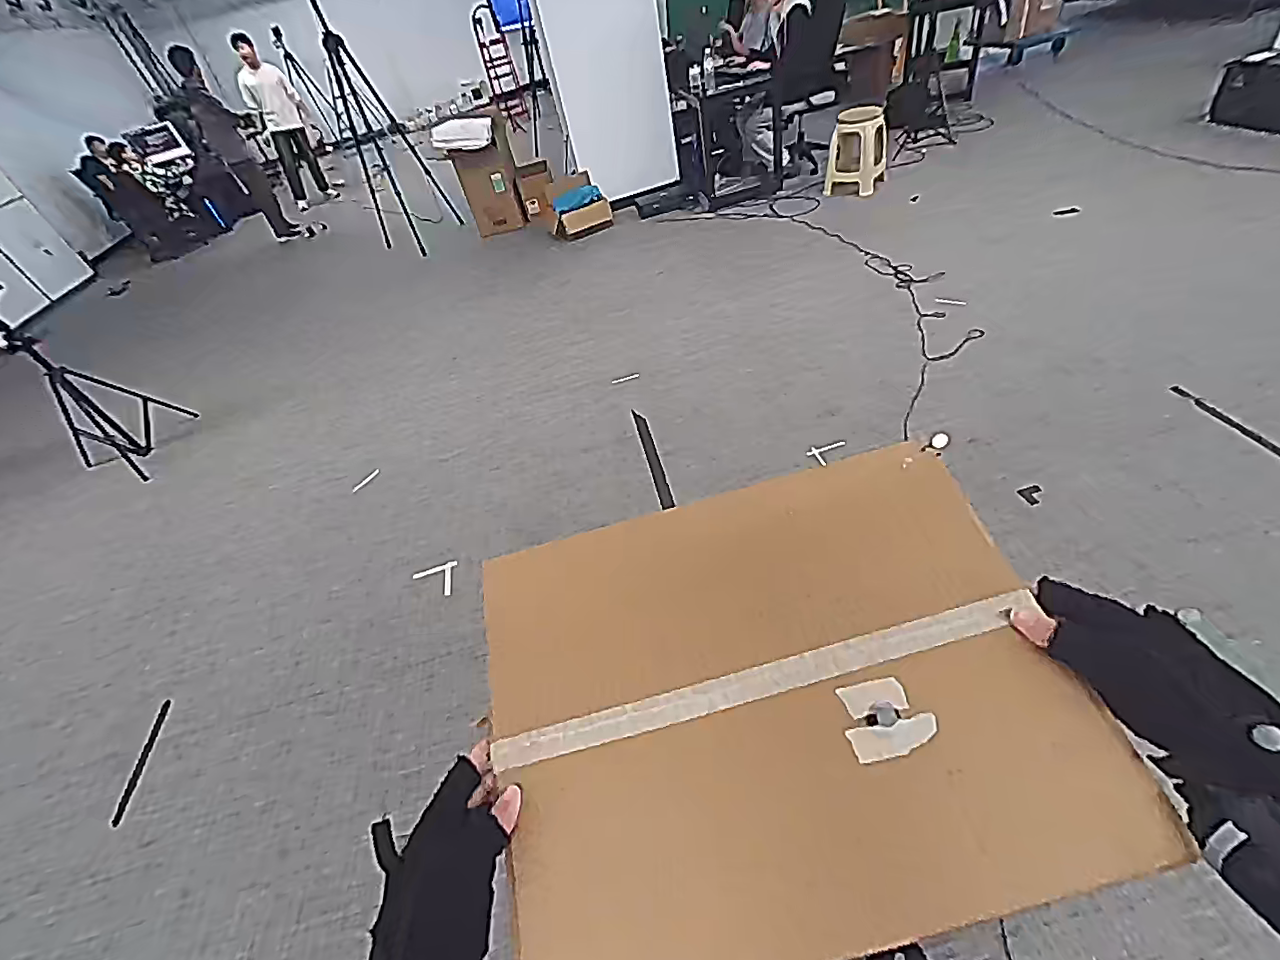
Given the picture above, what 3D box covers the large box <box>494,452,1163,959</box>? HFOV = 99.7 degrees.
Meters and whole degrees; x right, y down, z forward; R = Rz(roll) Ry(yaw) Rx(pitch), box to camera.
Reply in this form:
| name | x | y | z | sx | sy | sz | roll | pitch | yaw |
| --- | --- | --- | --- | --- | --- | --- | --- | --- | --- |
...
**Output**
| name | x | y | z | sx | sy | sz | roll | pitch | yaw |
| --- | --- | --- | --- | --- | --- | --- | --- | --- | --- |
| large box | 0.115 | 0.231 | 0.530 | 0.408 | 0.320 | 0.320 | -16 | 58 | -1 |
